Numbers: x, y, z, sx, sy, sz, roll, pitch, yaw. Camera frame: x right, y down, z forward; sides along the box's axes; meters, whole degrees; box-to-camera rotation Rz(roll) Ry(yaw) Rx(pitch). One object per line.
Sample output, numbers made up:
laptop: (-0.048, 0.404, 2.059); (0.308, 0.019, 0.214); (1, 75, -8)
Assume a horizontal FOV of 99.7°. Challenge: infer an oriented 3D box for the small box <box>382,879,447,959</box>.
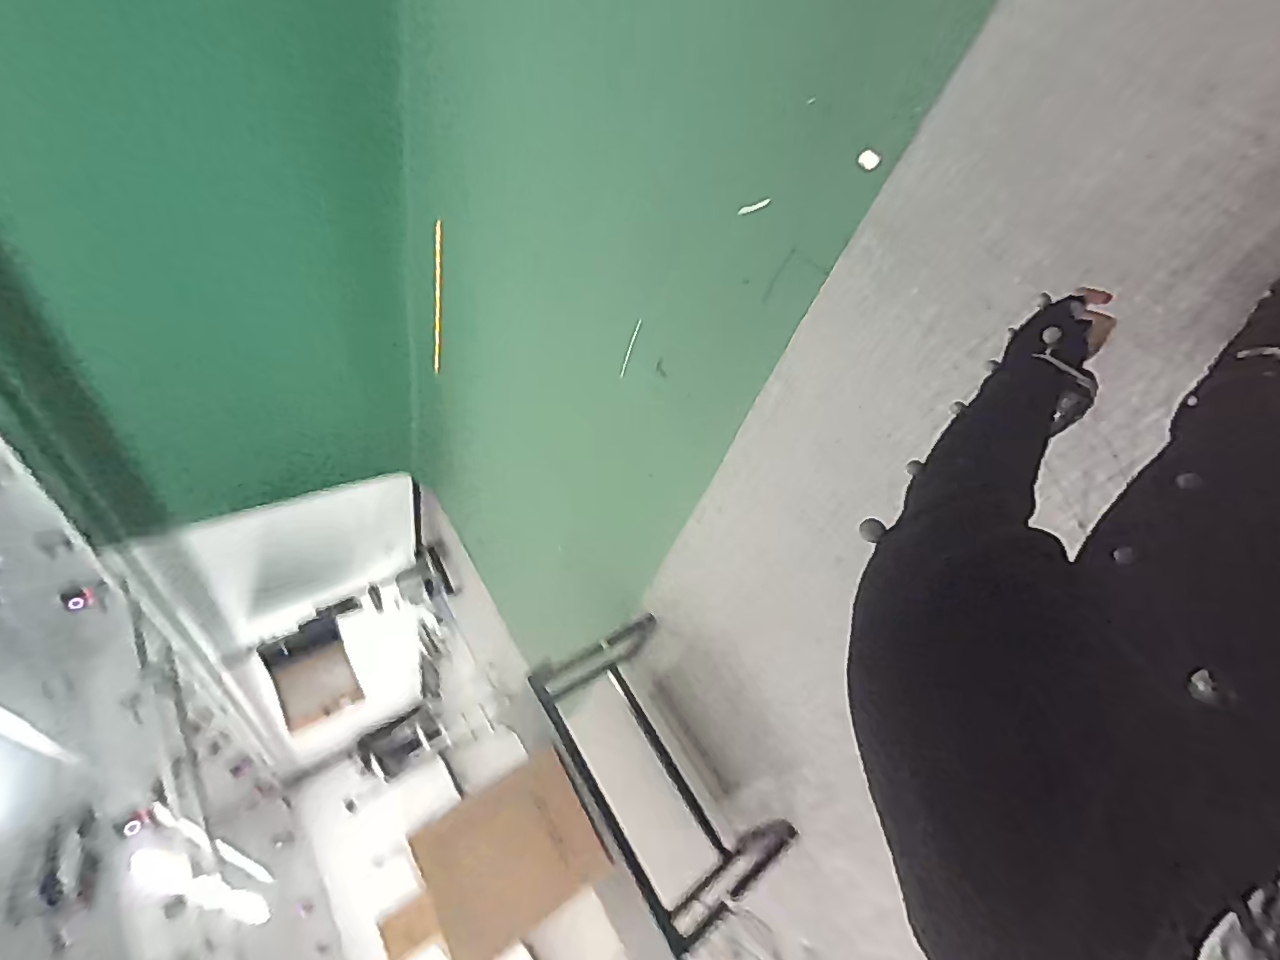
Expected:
small box: (-0.807, 1.568, 1.937); (0.168, 0.176, 0.179); (56, 142, 21)
